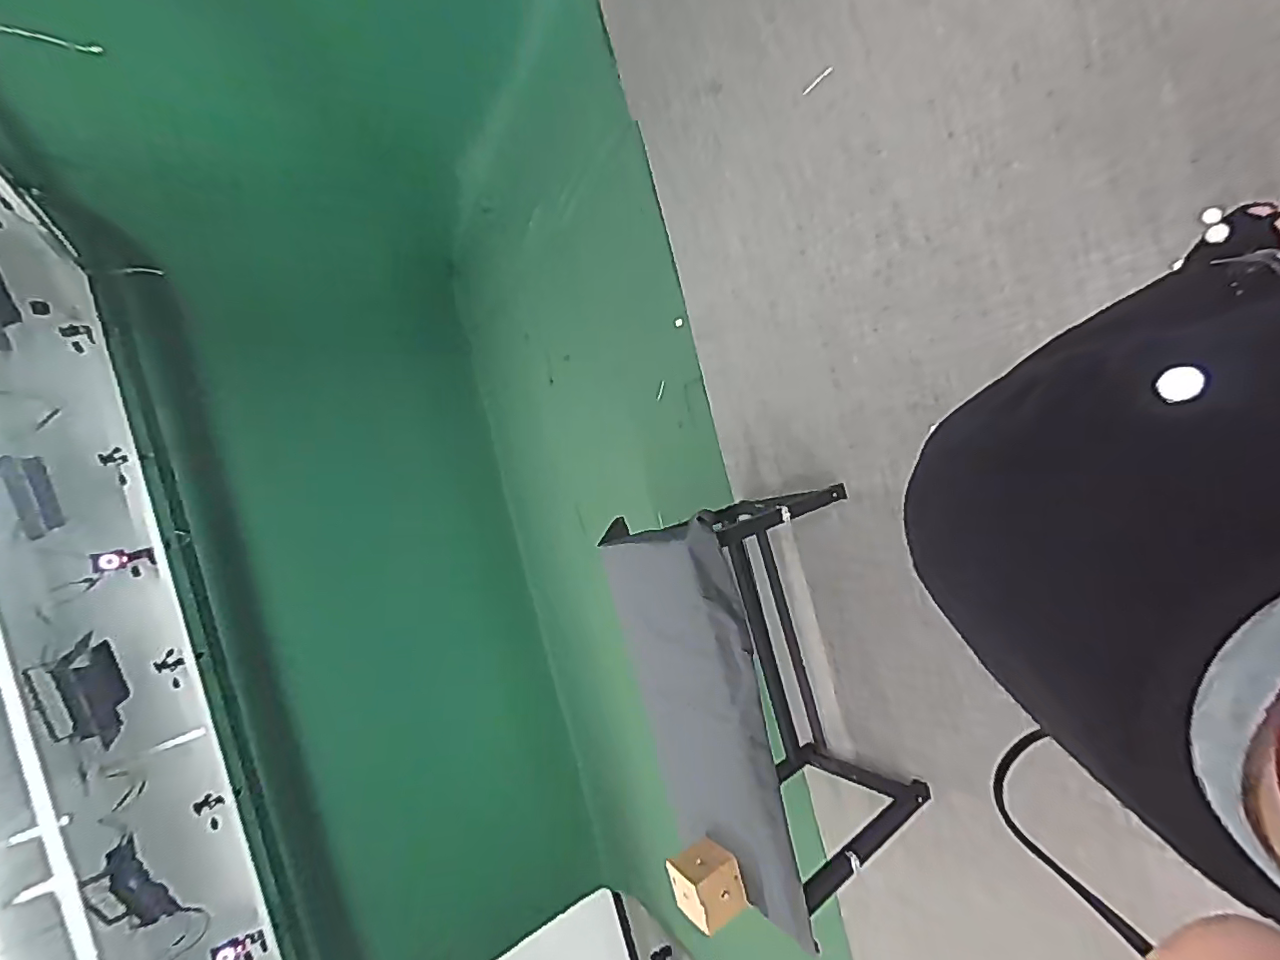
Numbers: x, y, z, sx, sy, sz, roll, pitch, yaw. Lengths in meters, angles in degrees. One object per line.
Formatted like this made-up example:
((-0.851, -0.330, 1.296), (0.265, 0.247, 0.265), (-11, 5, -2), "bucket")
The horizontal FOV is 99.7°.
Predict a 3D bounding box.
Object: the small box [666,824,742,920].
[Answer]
((0.219, 1.286, 1.792), (0.179, 0.176, 0.168), (-15, 90, 58), "small box")
